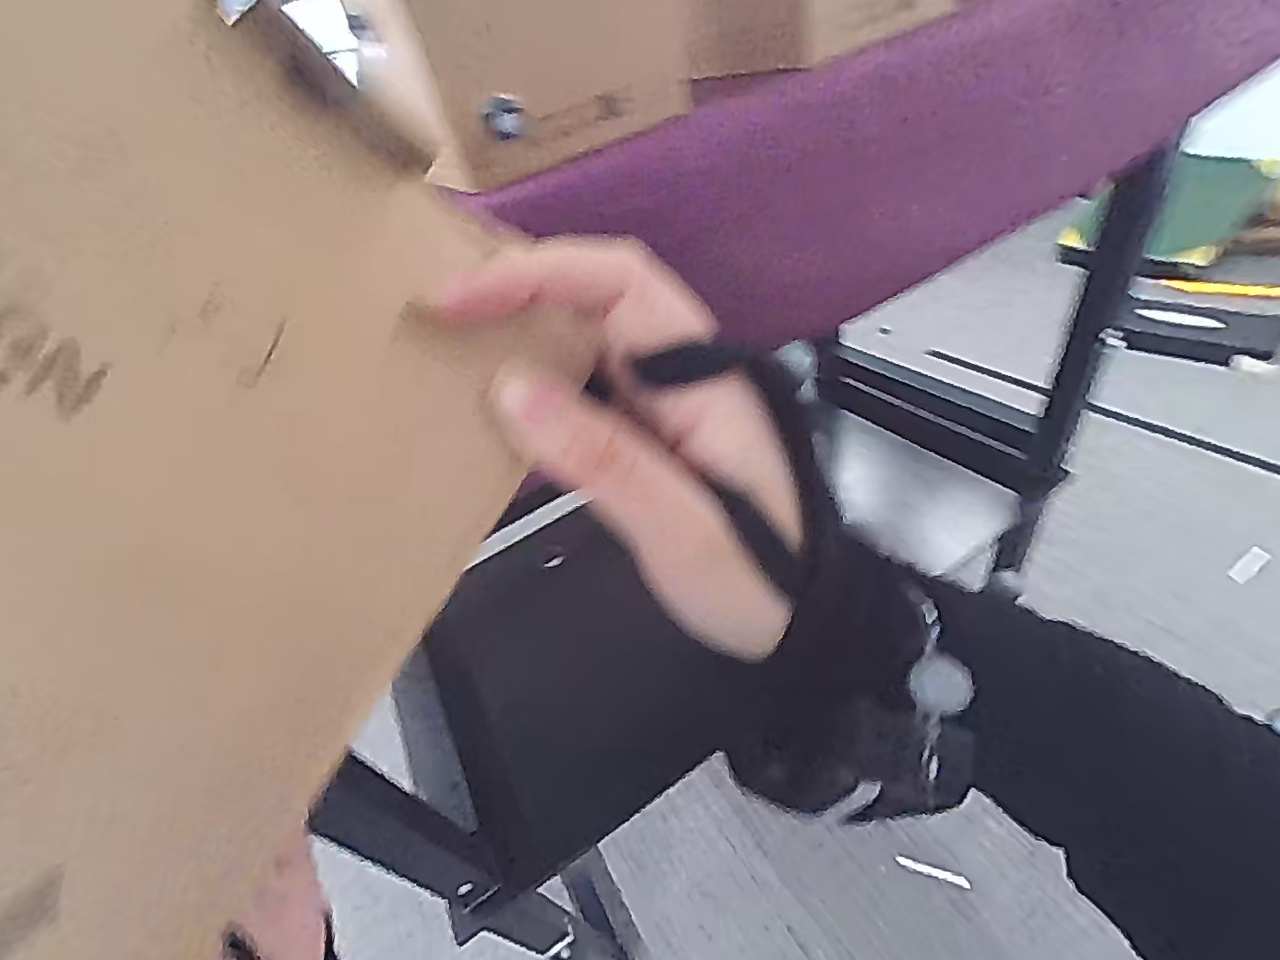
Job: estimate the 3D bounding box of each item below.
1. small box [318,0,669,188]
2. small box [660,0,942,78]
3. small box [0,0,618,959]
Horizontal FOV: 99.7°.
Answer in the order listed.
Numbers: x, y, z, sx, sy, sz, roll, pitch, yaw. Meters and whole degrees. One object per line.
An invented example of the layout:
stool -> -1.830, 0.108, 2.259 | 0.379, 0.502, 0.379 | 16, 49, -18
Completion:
small box -> -0.102, -0.308, 0.352 | 0.168, 0.176, 0.179 | -32, 42, -17
small box -> 0.116, -0.435, 0.418 | 0.168, 0.176, 0.179 | -32, 42, -16
small box -> -0.142, 0.007, 0.136 | 0.176, 0.168, 0.179 | -16, 40, 53
